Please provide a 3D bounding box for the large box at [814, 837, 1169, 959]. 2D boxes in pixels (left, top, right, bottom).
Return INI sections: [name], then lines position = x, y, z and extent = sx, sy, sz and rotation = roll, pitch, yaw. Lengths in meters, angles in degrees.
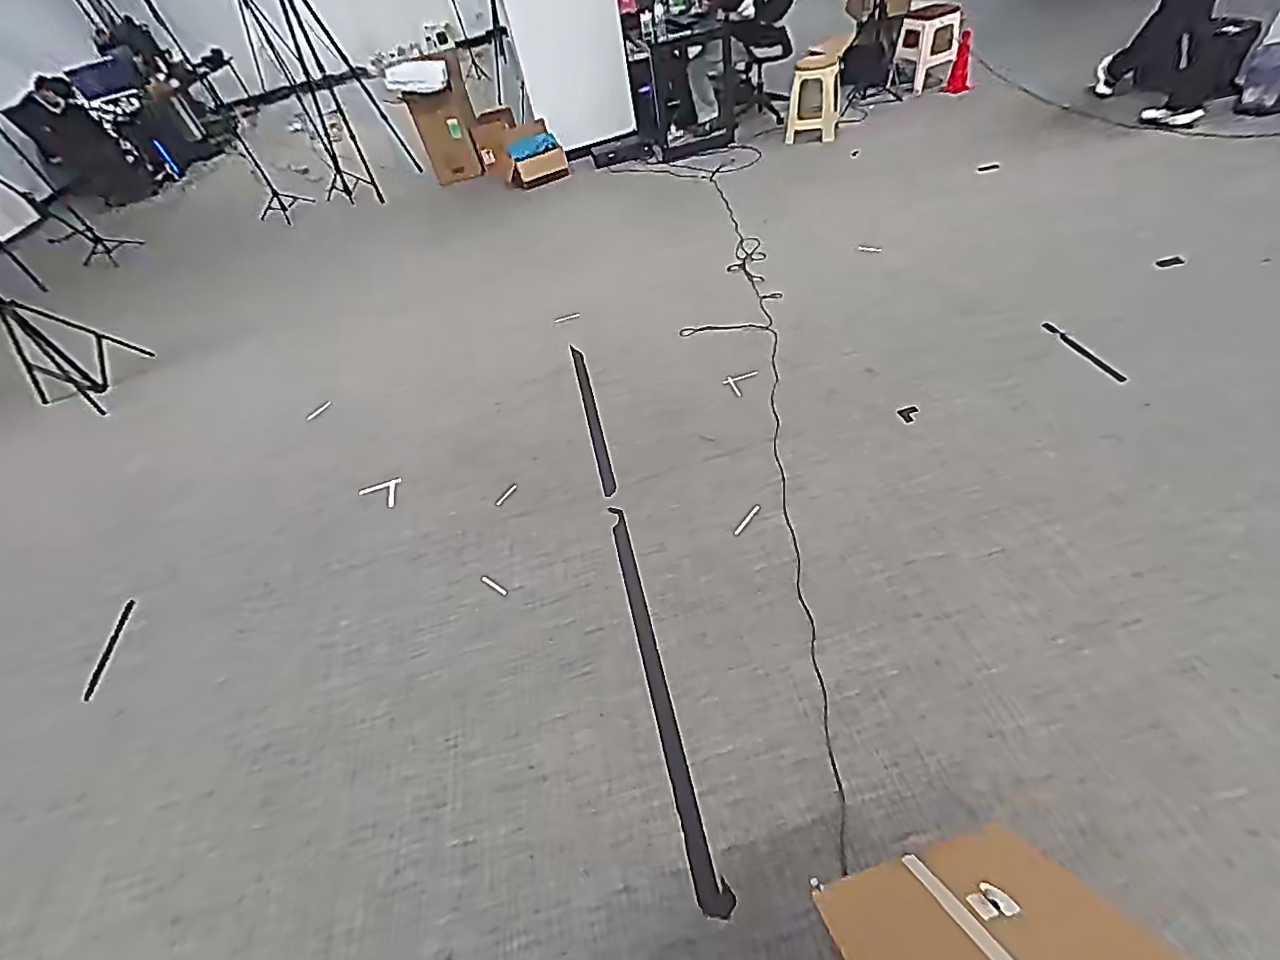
[large box]
position = 0.453, 0.699, 0.602
extent = 0.320, 0.408, 0.320
rotation = -15, 82, -4
